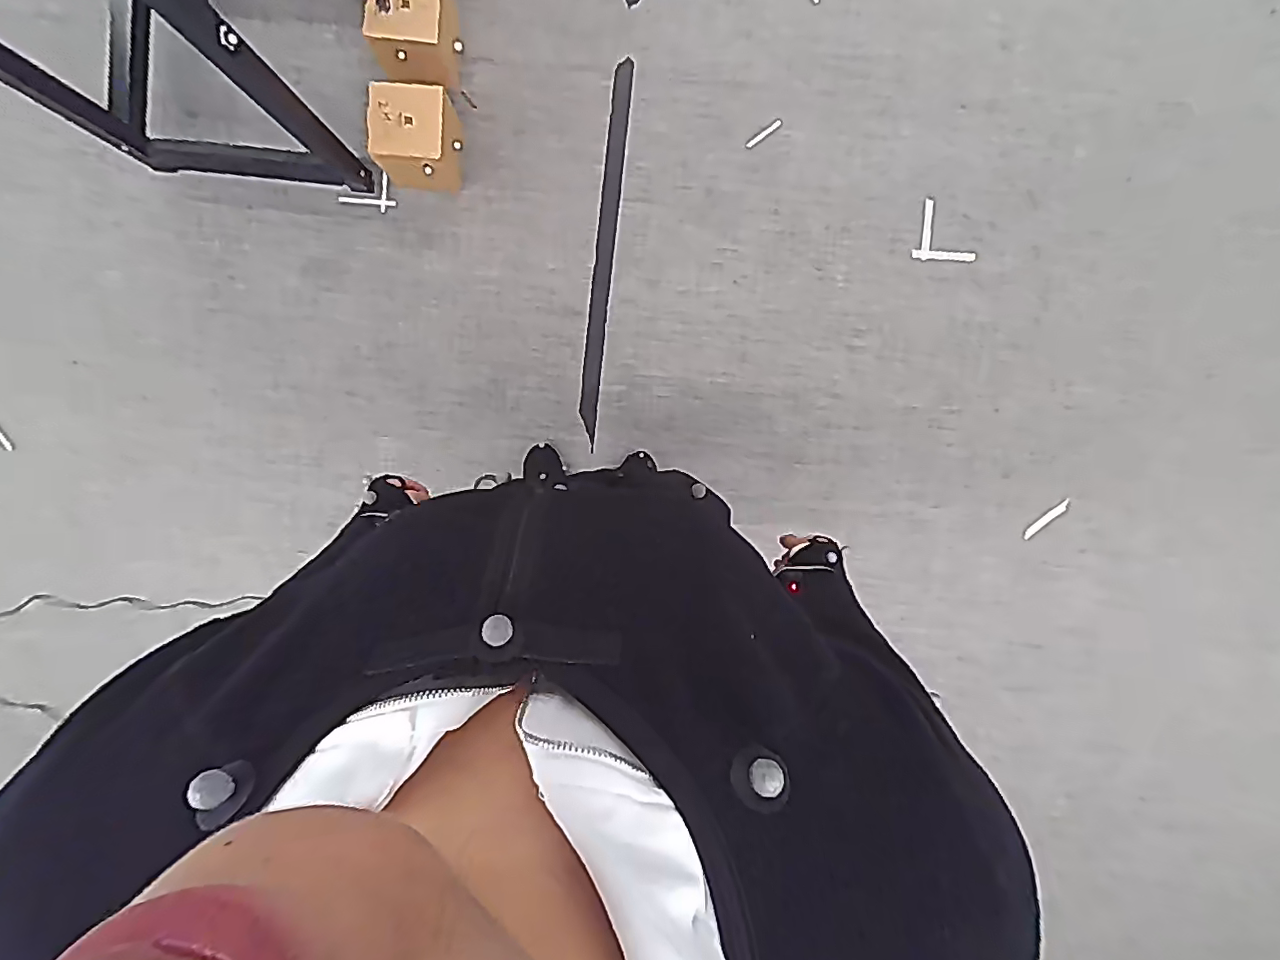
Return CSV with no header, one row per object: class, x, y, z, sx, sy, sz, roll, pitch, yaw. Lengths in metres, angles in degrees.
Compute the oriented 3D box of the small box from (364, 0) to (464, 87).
small box,-0.552,-1.112,1.336,0.179,0.176,0.168,5,94,-2
